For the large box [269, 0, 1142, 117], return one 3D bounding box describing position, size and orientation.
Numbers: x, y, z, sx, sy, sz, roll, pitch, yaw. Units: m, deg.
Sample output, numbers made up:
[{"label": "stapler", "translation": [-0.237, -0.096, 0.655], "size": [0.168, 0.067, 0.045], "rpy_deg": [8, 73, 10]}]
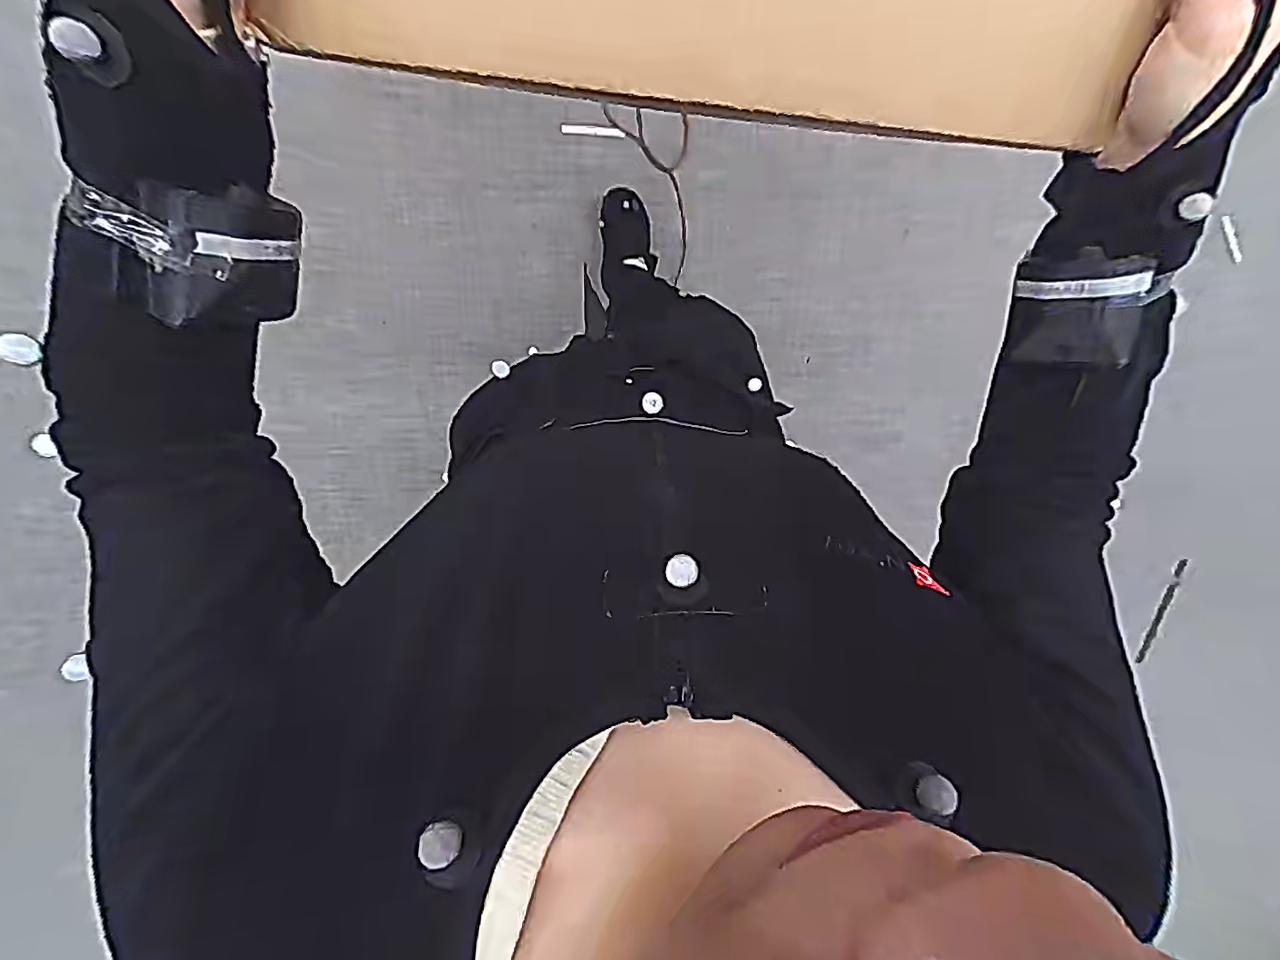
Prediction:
[{"label": "large box", "translation": [0.035, -0.402, 0.295], "size": [0.408, 0.320, 0.320], "rpy_deg": [2, 125, -7]}]
